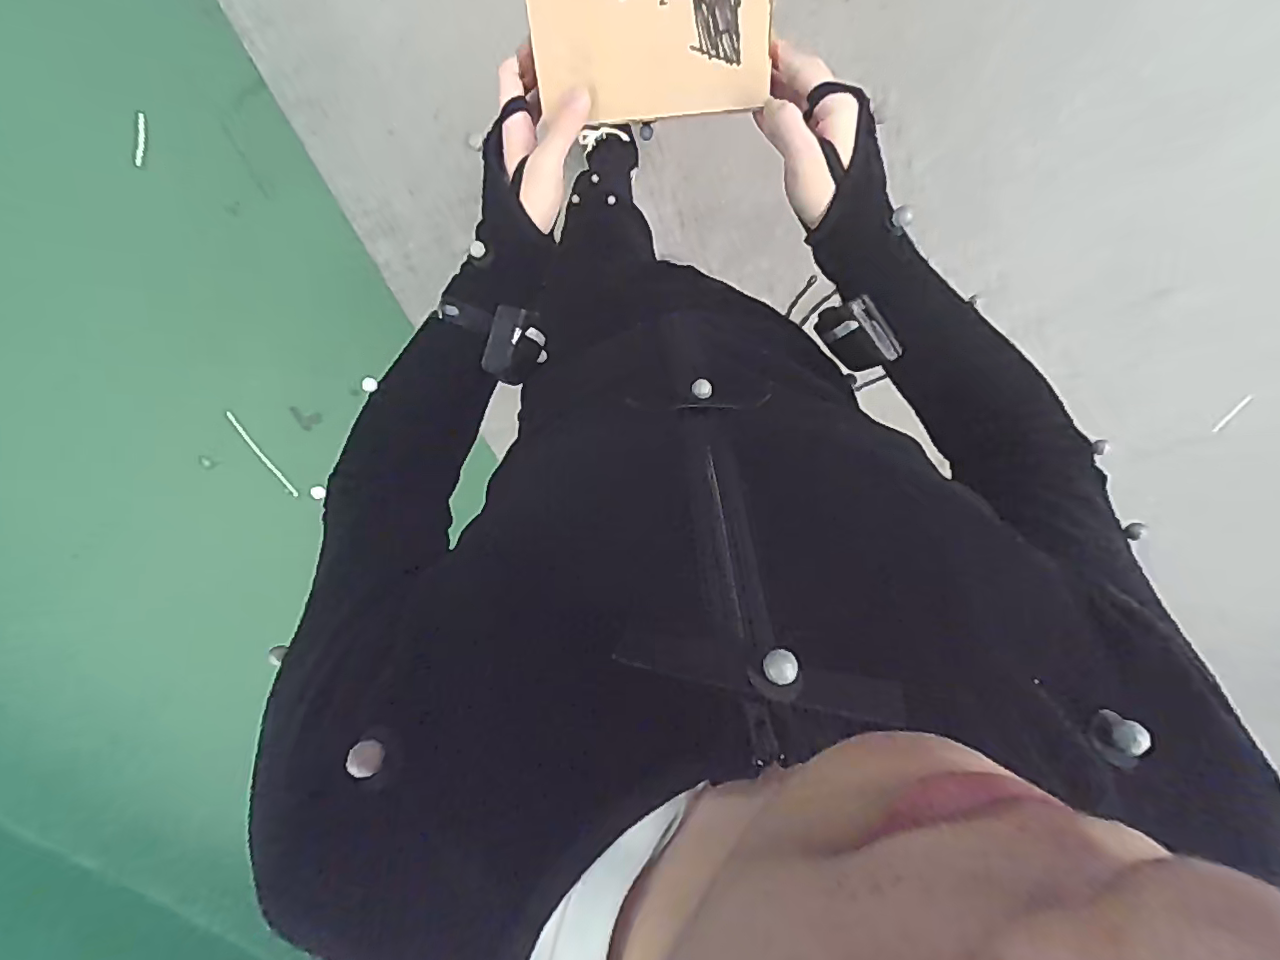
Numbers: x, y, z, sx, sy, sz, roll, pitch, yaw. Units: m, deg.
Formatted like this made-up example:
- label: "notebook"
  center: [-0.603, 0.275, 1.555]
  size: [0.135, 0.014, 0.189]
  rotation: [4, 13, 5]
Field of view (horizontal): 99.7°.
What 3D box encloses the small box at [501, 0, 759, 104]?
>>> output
- label: "small box"
  center: [-0.007, -0.391, 0.412]
  size: [0.179, 0.176, 0.168]
  rotation: [-1, 125, 3]
